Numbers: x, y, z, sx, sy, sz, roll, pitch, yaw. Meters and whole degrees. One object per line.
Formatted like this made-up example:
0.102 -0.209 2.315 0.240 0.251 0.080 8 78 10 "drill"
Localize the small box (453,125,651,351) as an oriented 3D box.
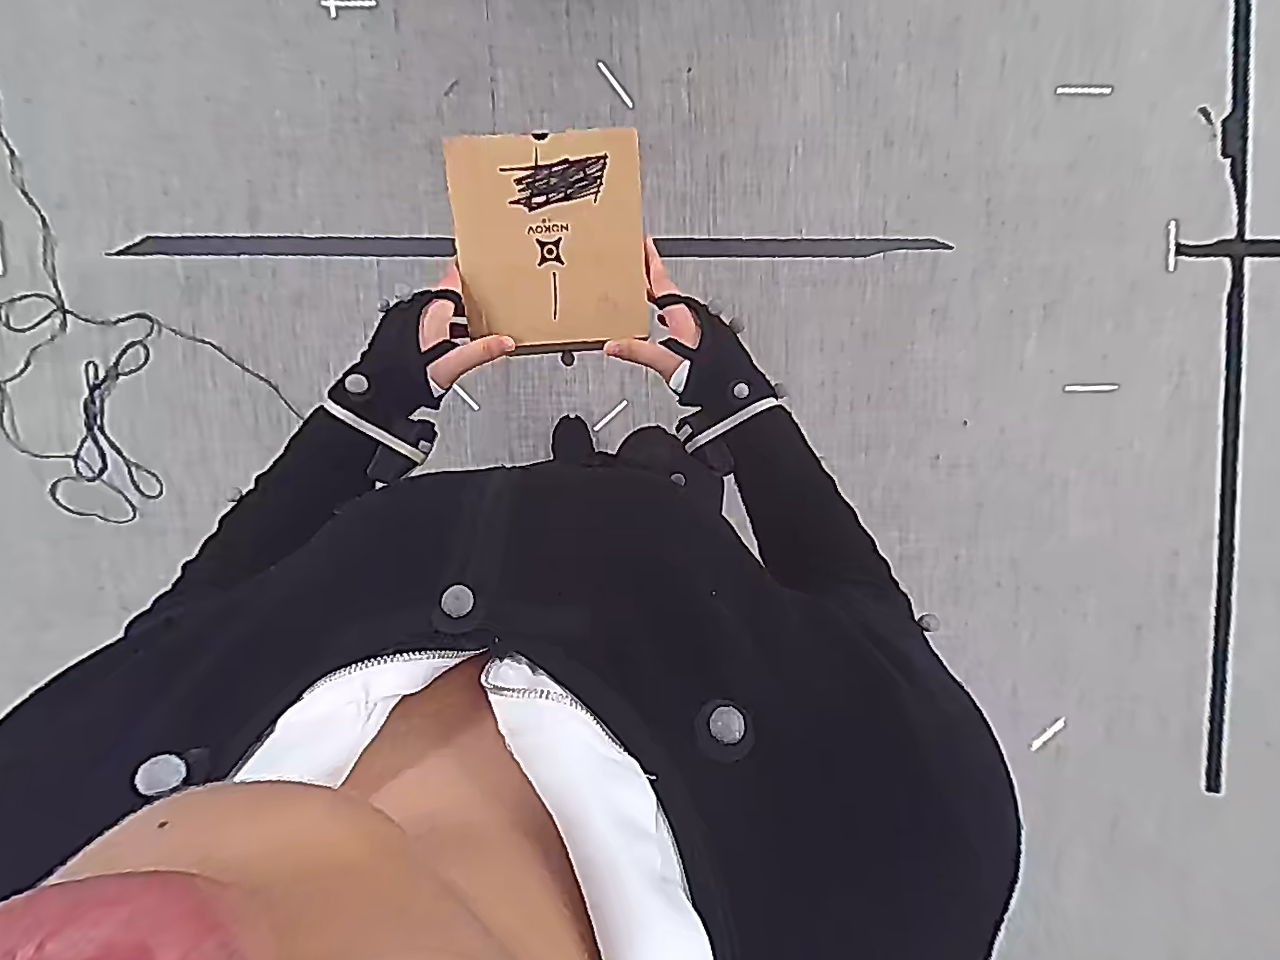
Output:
-0.078 -0.230 0.556 0.168 0.176 0.179 -4 101 -1 "small box"
